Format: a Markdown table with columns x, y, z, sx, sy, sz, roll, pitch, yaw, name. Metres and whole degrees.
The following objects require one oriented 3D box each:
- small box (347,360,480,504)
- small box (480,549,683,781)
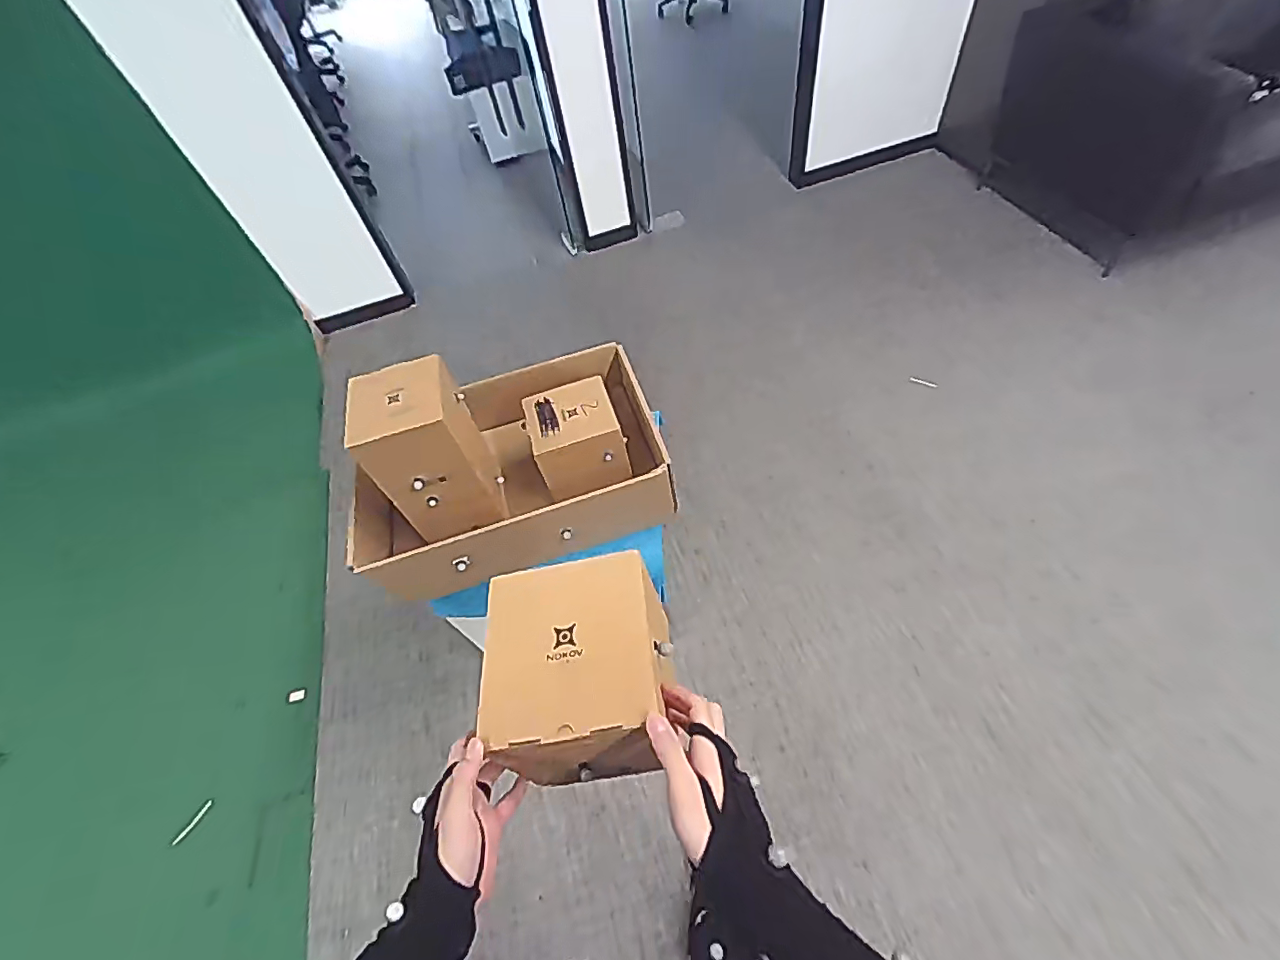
| x | y | z | sx | sy | sz | roll | pitch | yaw | name |
| --- | --- | --- | --- | --- | --- | --- | --- | --- | --- |
| -0.406 | -0.085 | 0.991 | 0.168 | 0.176 | 0.179 | -17 | 53 | -3 | small box |
| -0.054 | 0.202 | 0.581 | 0.168 | 0.176 | 0.179 | -12 | 50 | 5 | small box |
